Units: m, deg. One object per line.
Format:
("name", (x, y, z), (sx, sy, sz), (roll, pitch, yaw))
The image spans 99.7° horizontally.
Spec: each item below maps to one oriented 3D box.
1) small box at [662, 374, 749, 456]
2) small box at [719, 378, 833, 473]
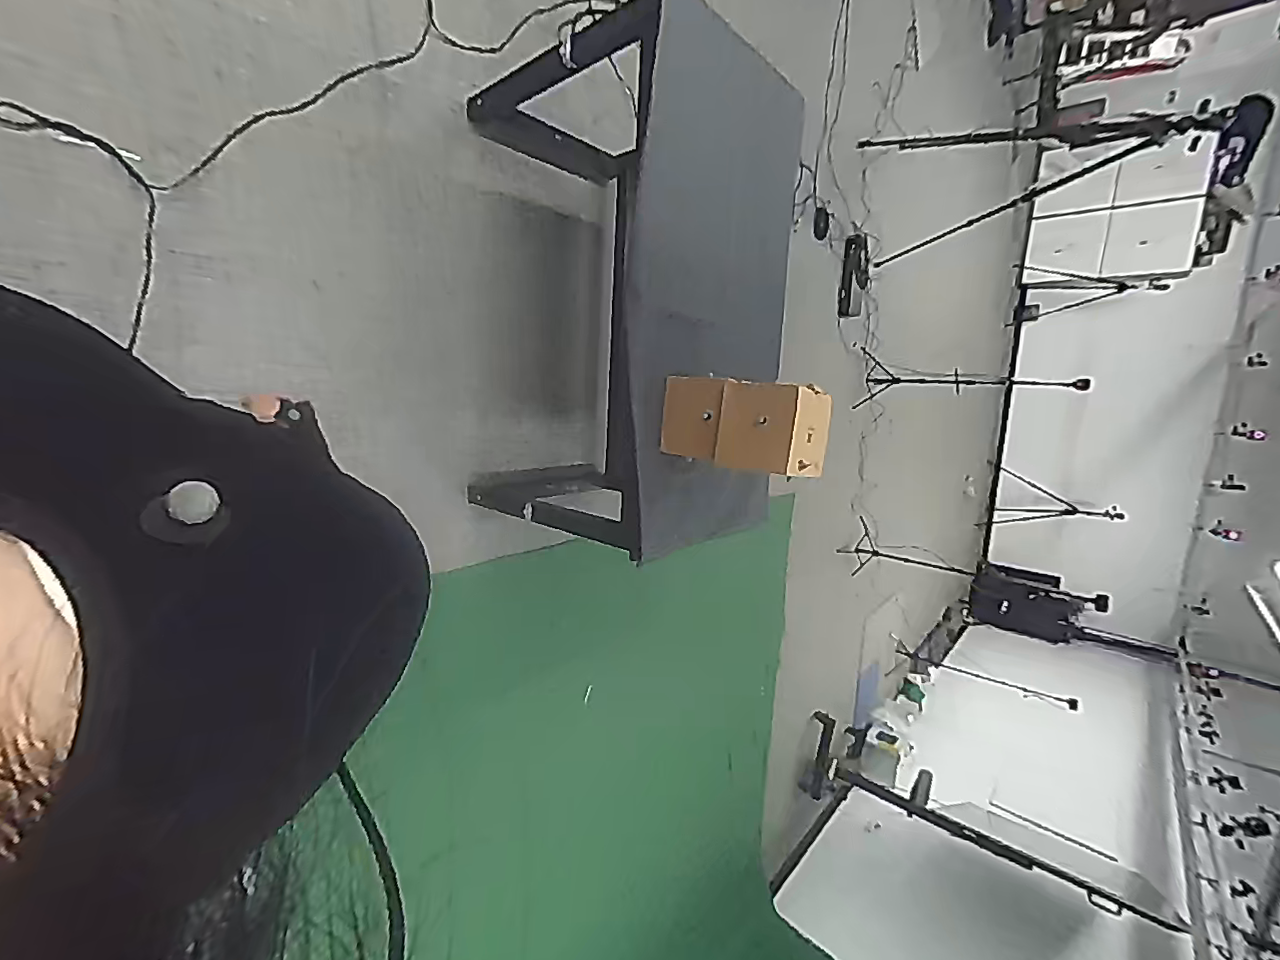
("small box", (0.167, -0.147, 1.234), (0.168, 0.176, 0.179), (-3, 101, -49))
("small box", (0.278, -0.111, 1.117), (0.168, 0.176, 0.179), (2, 96, -49))
